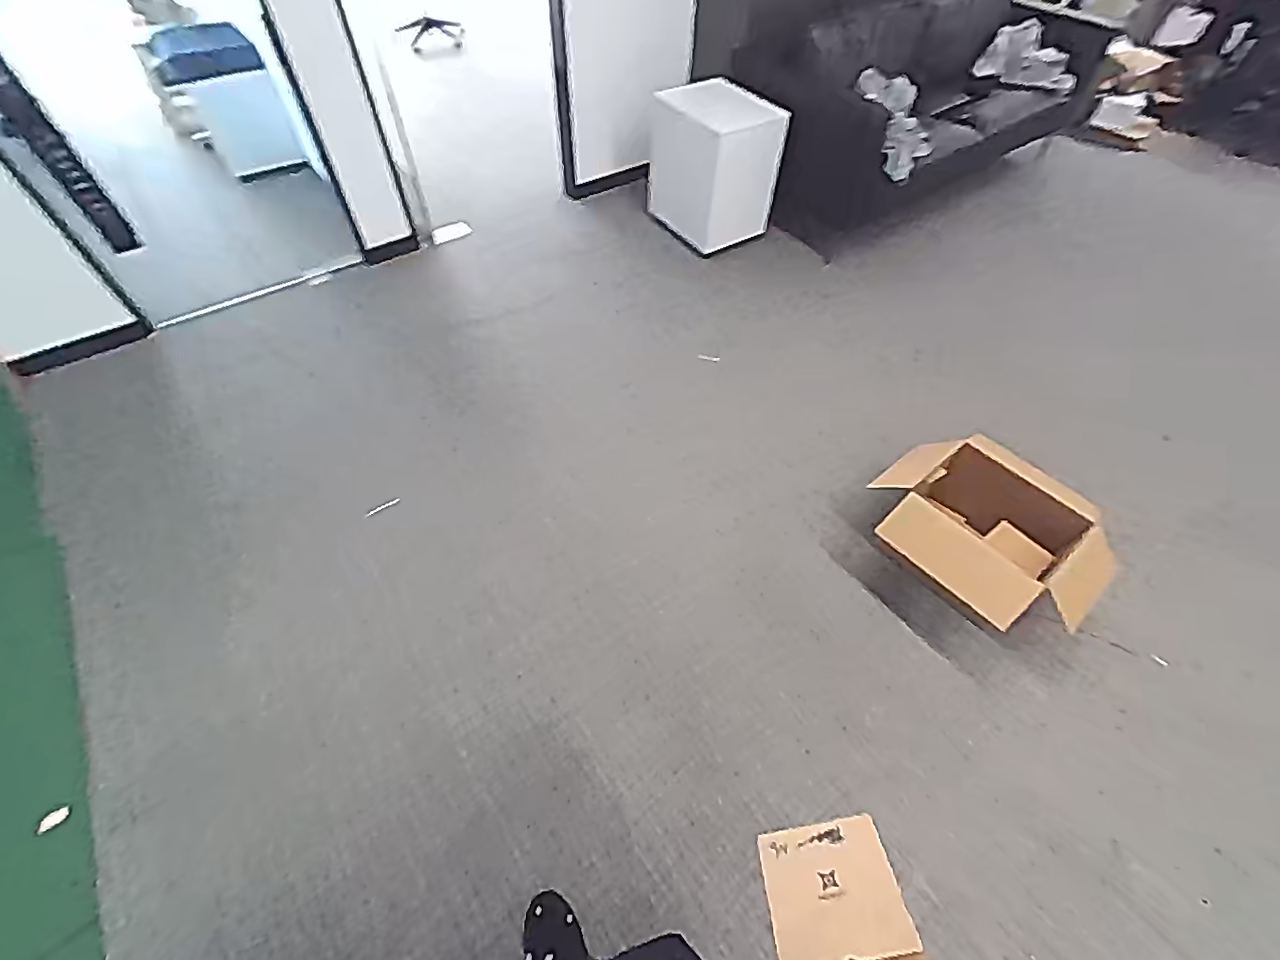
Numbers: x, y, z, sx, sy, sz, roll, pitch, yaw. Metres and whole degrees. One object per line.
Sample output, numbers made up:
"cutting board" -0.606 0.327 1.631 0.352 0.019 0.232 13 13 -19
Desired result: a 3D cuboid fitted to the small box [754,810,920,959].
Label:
"small box" 0.265 0.589 0.719 0.168 0.176 0.179 -17 20 8
